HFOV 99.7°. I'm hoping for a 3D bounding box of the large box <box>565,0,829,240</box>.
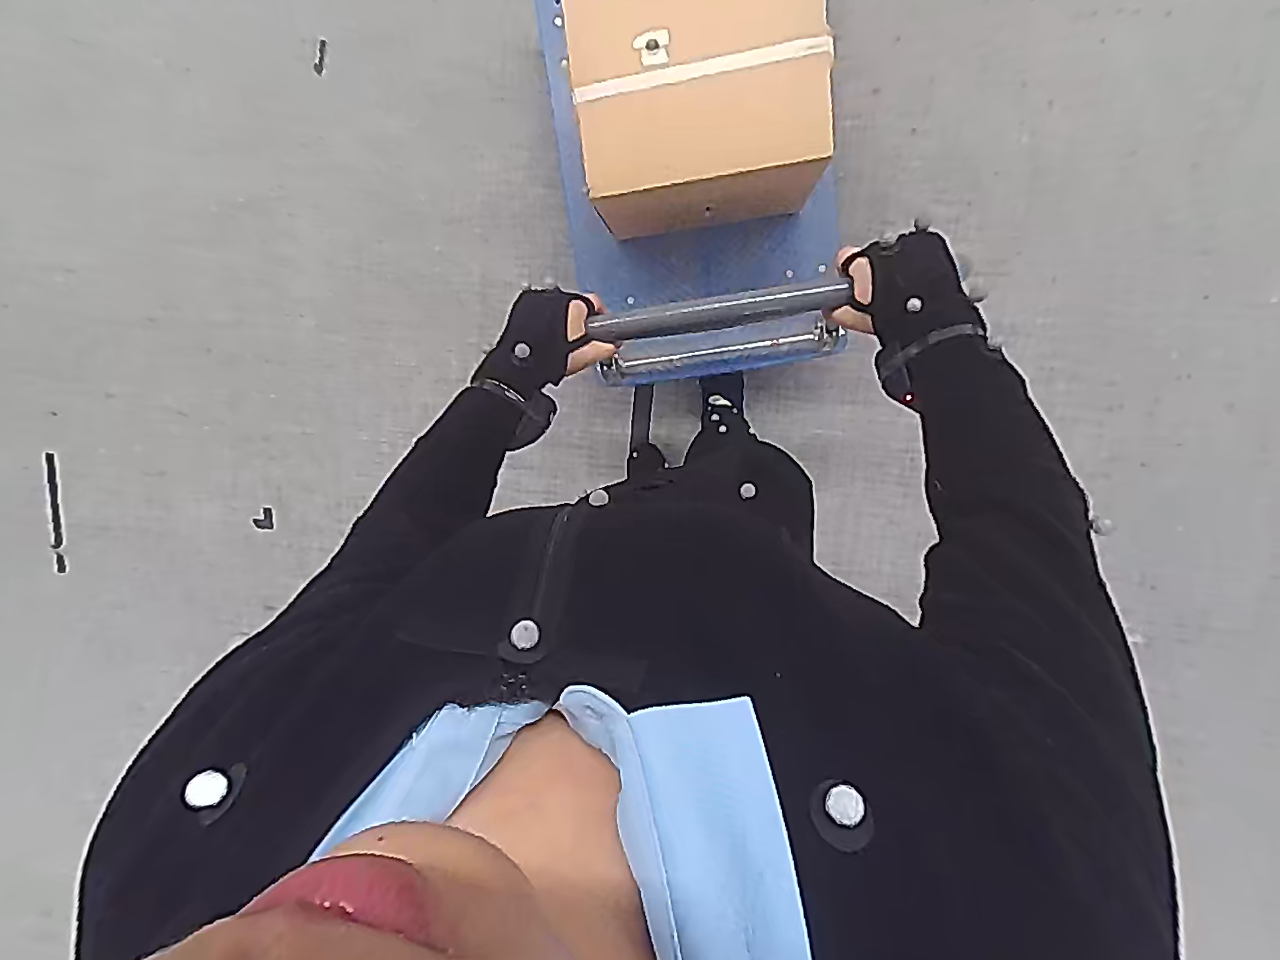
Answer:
[{"bbox_3d":[0.111,-0.680,1.023,0.408,0.320,0.320,-6,99,9],"label":"large box"}]
